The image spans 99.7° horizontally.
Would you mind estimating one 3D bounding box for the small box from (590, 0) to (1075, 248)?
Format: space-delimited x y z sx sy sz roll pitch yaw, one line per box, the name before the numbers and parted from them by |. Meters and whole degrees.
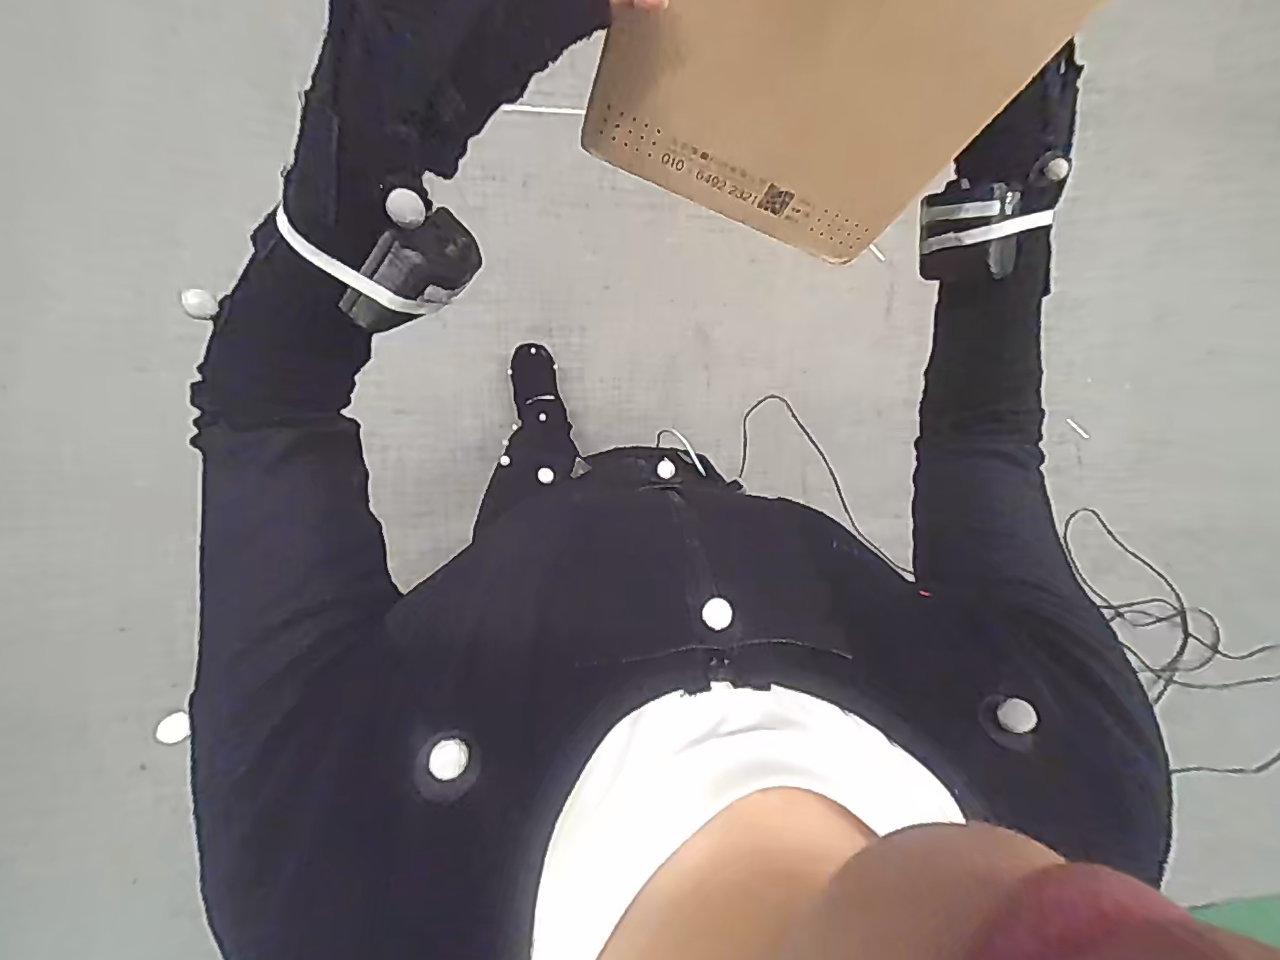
small box | 0.084 -0.260 0.267 0.168 0.176 0.179 17 64 -14
